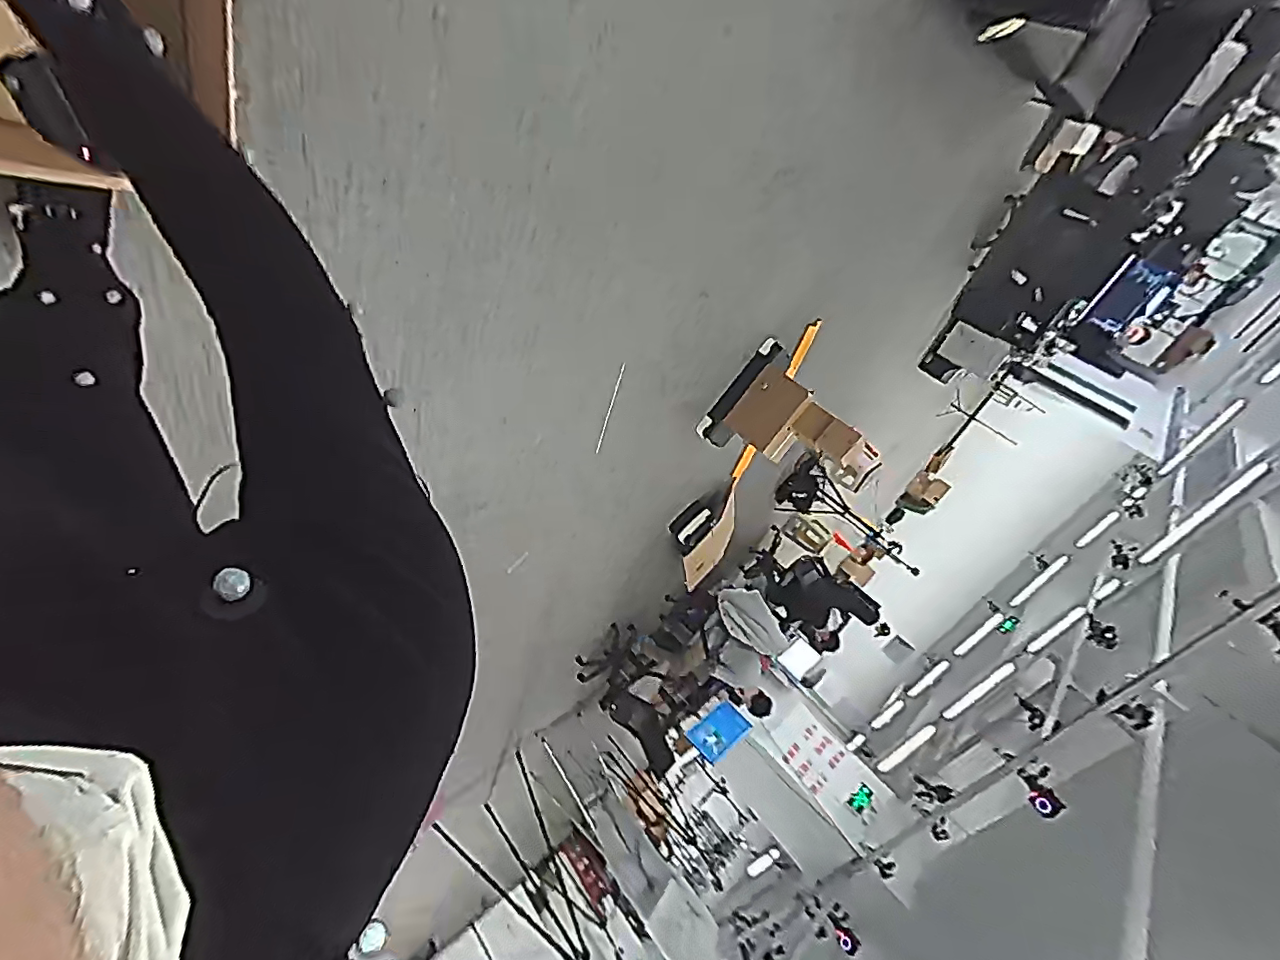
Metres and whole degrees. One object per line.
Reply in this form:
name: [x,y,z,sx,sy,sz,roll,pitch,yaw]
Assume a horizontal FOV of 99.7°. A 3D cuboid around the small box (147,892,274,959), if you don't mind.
small box: [-1.040,1.144,1.304,0.179,0.176,0.168,-50,153,7]
